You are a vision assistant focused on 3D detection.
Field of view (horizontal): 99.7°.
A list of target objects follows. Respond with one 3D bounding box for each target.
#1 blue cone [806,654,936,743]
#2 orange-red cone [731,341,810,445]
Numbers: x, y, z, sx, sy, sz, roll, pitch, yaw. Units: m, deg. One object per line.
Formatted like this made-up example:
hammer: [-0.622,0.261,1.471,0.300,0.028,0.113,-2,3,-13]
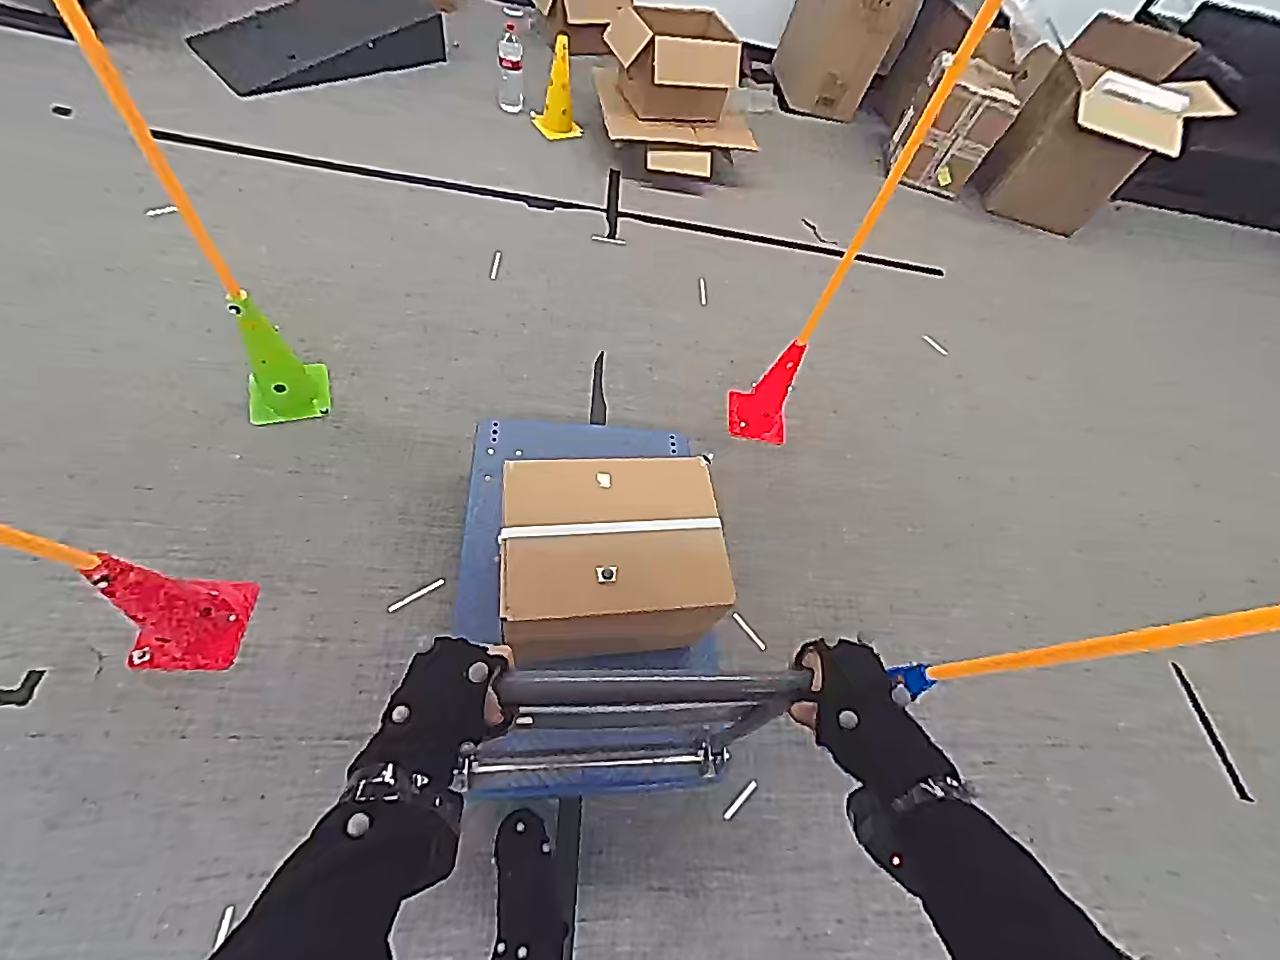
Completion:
blue cone: [0.564,0.486,1.267,0.193,0.380,0.192,2,57,-12]
orange-red cone: [0.443,-0.301,1.709,0.199,0.360,0.198,12,58,-7]
